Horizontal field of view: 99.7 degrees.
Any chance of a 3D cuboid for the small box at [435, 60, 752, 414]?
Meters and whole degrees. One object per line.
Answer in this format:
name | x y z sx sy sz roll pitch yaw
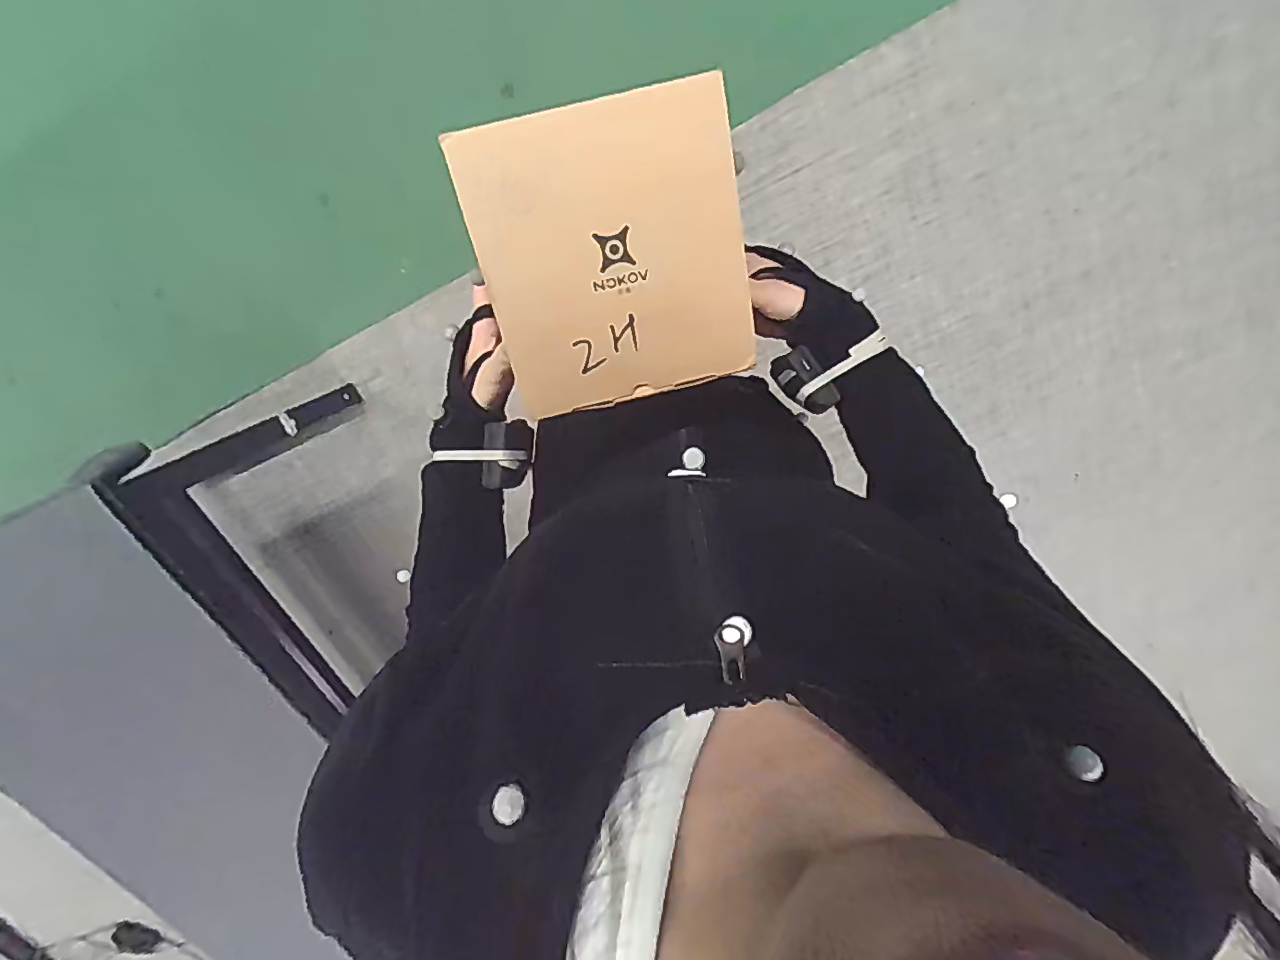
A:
small box | -0.028 -0.168 0.405 0.168 0.176 0.179 -13 113 0
